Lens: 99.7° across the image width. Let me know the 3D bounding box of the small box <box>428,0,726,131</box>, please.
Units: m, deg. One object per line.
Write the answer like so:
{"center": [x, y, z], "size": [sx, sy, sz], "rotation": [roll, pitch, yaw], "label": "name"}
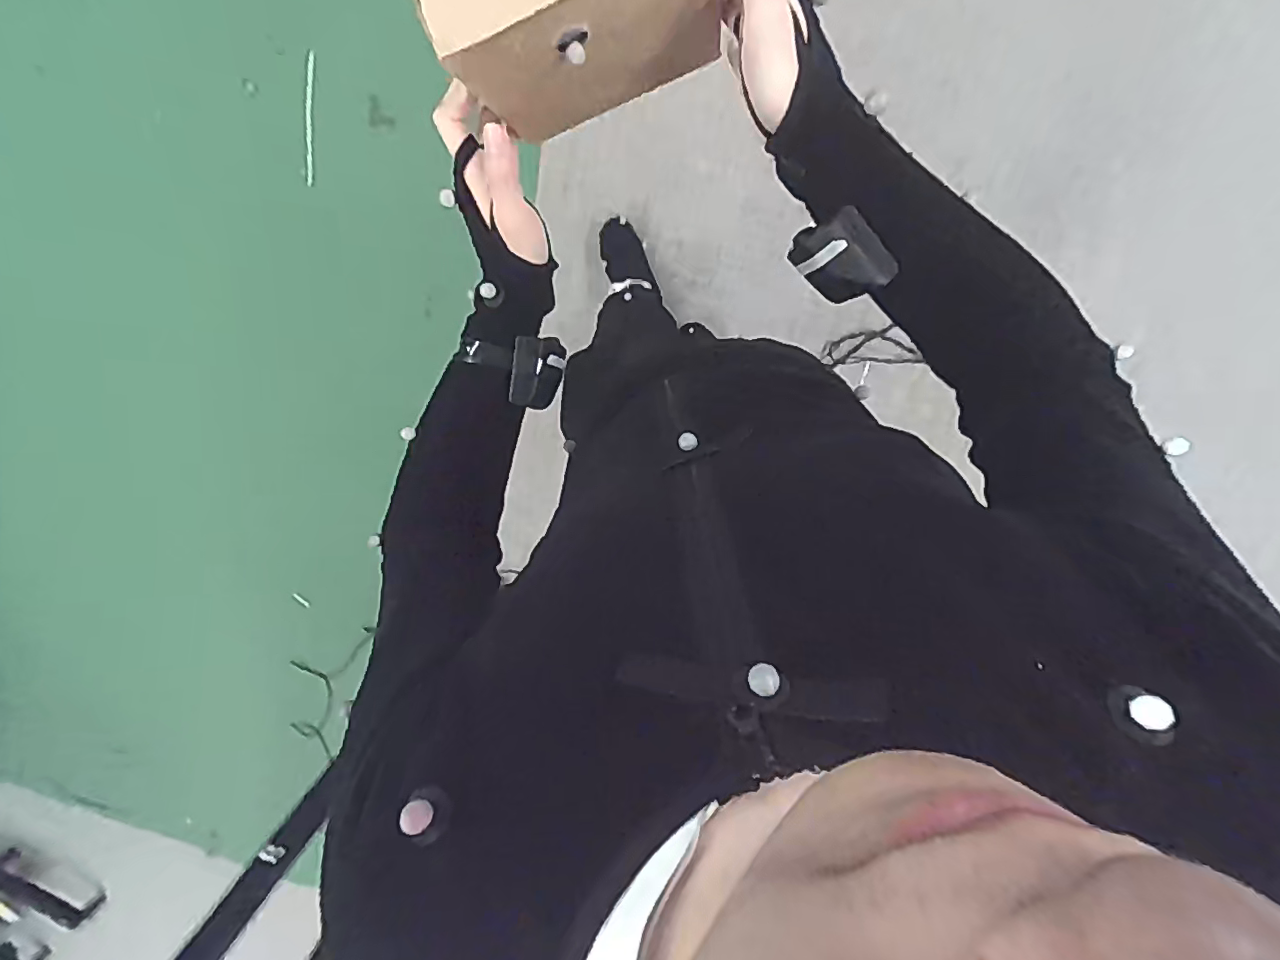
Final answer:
{"center": [-0.046, -0.371, 0.360], "size": [0.179, 0.176, 0.168], "rotation": [-16, 103, 12], "label": "small box"}
